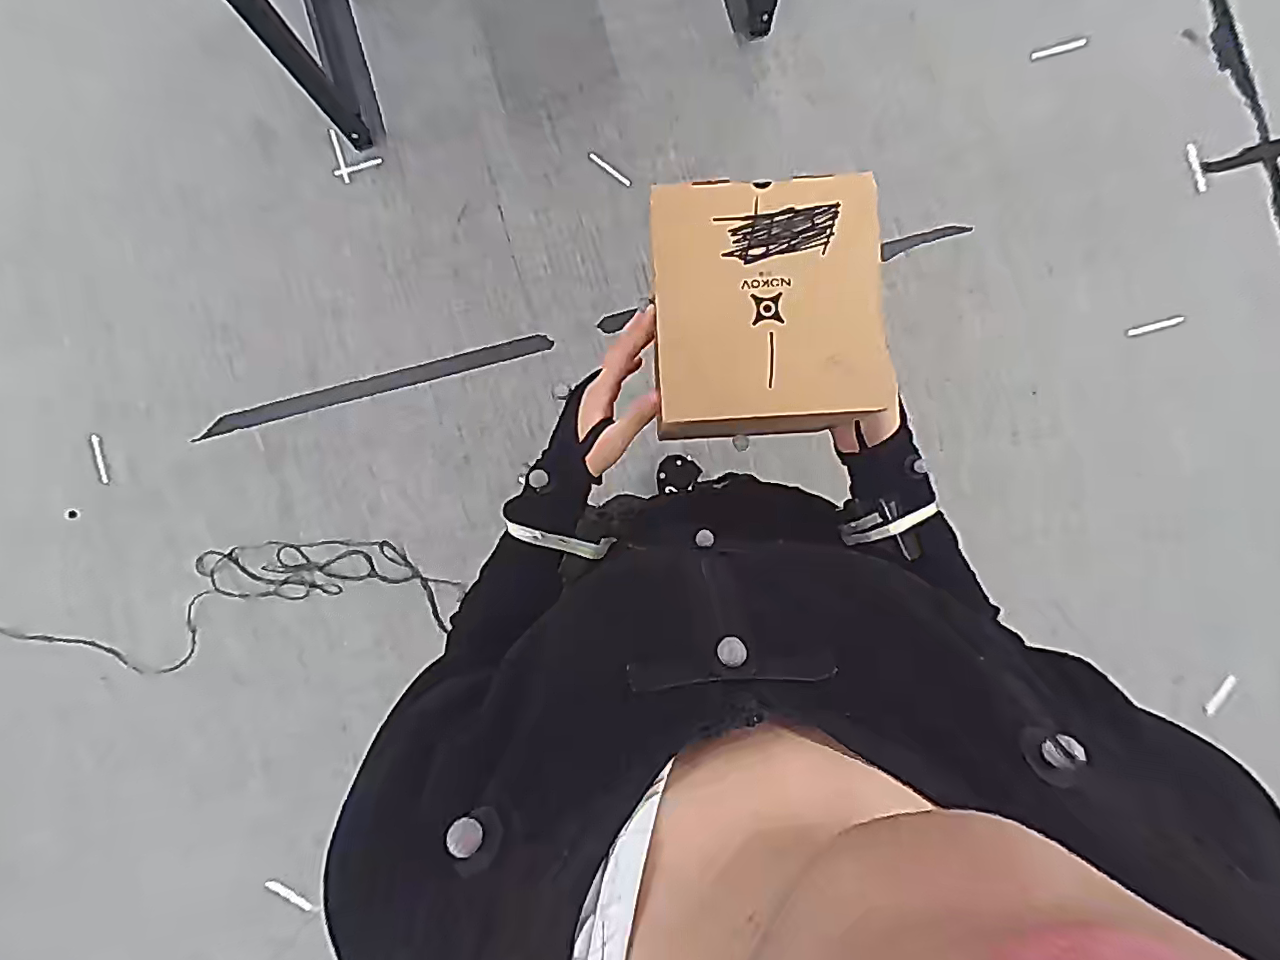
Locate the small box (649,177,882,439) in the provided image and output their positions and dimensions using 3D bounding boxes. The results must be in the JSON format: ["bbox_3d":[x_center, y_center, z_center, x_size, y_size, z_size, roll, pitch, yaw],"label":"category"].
[{"bbox_3d":[0.093,-0.134,0.478,0.168,0.176,0.179,-3,90,1],"label":"small box"}]
